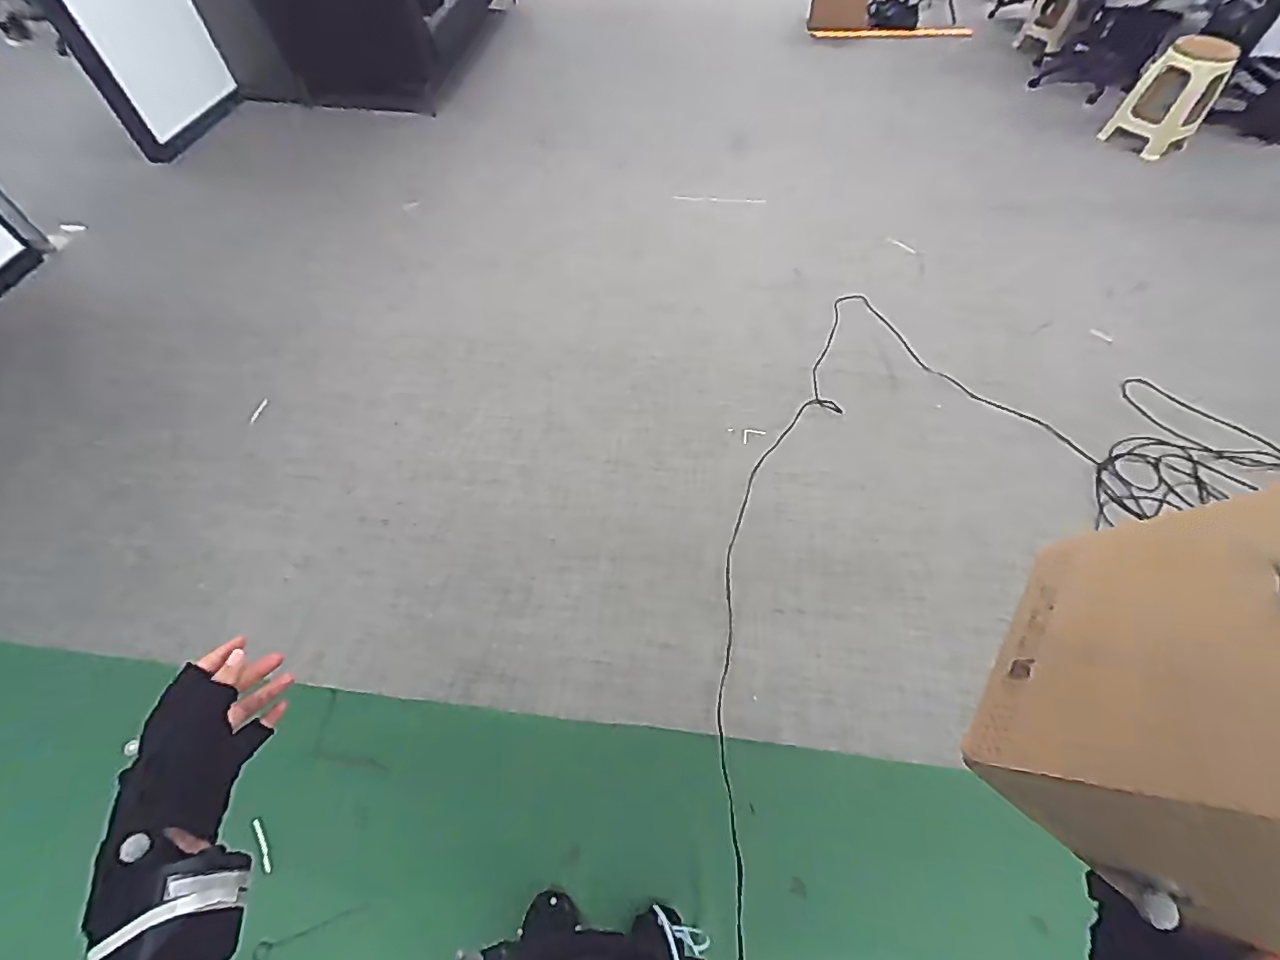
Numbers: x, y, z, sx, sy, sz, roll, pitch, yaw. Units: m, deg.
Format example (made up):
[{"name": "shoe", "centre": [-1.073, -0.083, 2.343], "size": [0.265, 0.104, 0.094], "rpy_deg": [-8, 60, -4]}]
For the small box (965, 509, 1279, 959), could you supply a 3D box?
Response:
[{"name": "small box", "centre": [0.309, 0.127, 0.257], "size": [0.179, 0.176, 0.168], "rpy_deg": [39, 66, 2]}]
